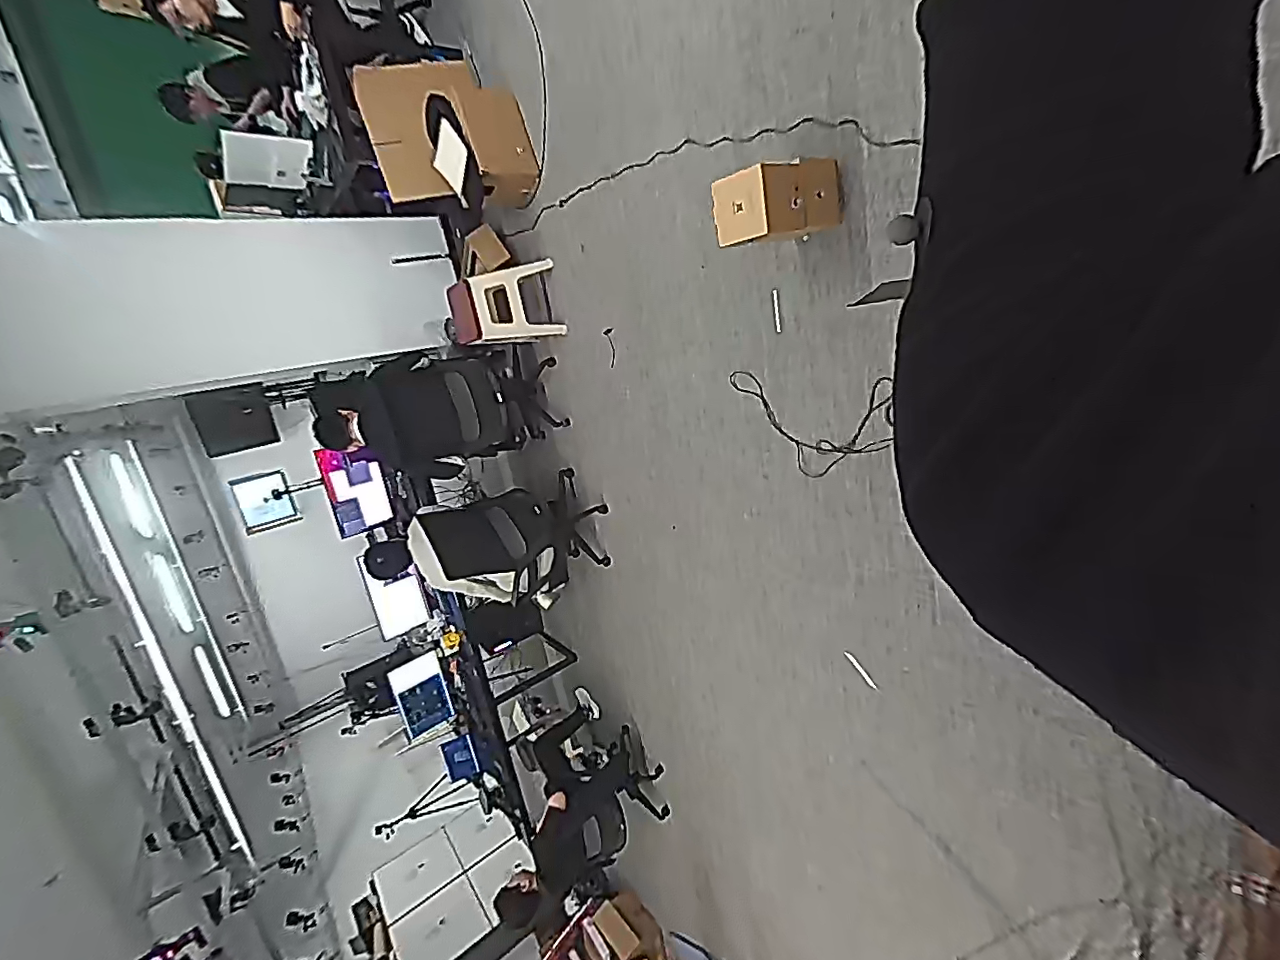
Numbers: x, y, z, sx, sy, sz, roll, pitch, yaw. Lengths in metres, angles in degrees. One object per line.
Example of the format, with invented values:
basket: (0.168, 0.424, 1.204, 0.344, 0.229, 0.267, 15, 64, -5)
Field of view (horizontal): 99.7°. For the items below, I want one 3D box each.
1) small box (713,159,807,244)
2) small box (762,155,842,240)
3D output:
small box: (0.324, -0.745, 1.456, 0.179, 0.176, 0.168, 11, 118, 51)
small box: (0.452, -0.799, 1.540, 0.168, 0.176, 0.179, 8, 115, 53)
